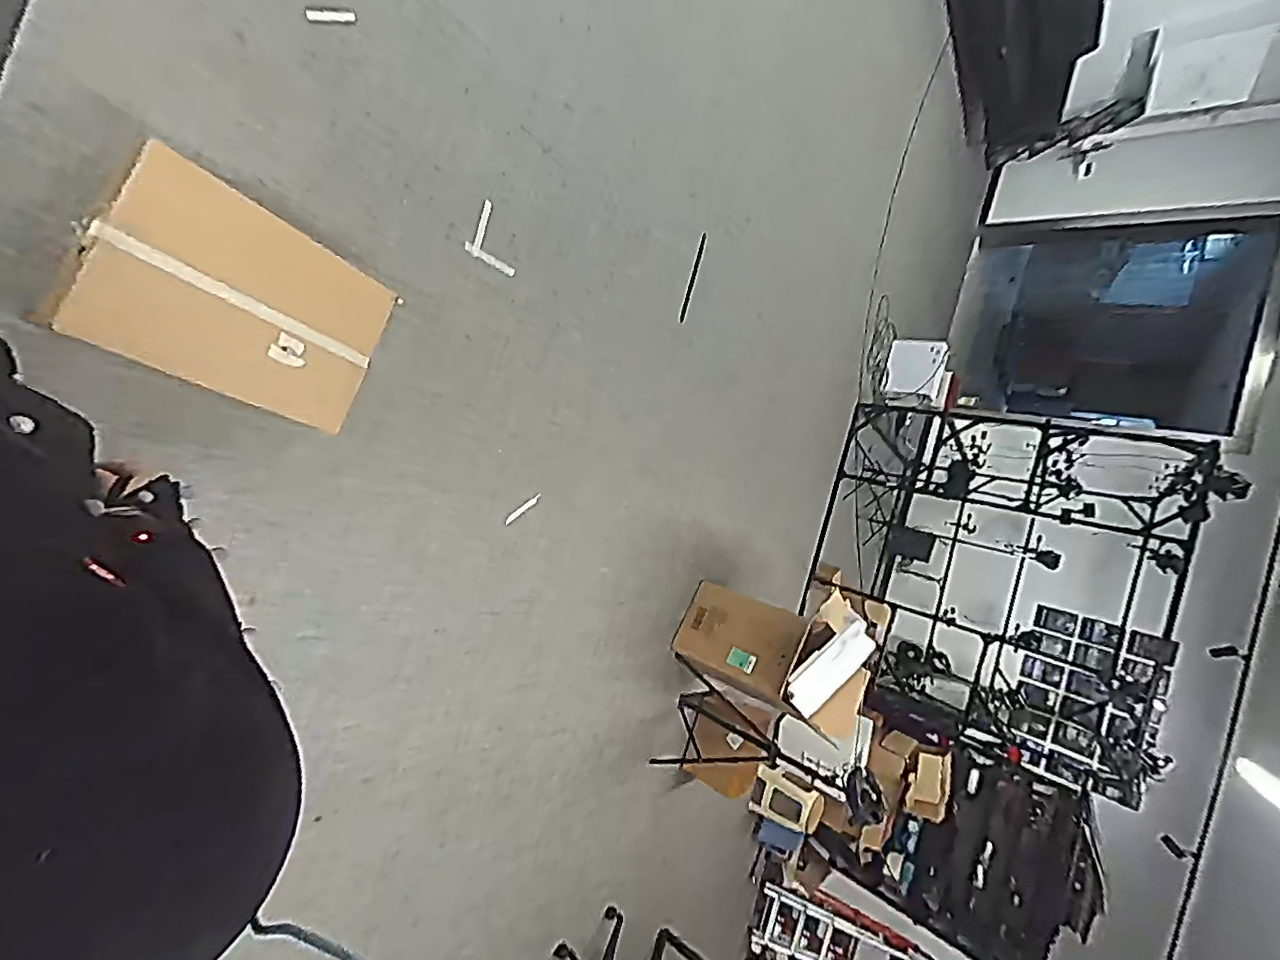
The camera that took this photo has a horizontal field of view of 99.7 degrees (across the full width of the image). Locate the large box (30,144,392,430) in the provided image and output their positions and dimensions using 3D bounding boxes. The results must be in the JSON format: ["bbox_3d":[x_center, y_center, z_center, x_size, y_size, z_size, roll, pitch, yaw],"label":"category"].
[{"bbox_3d":[-0.770,-0.321,1.003,0.408,0.320,0.320,29,79,-53],"label":"large box"}]
